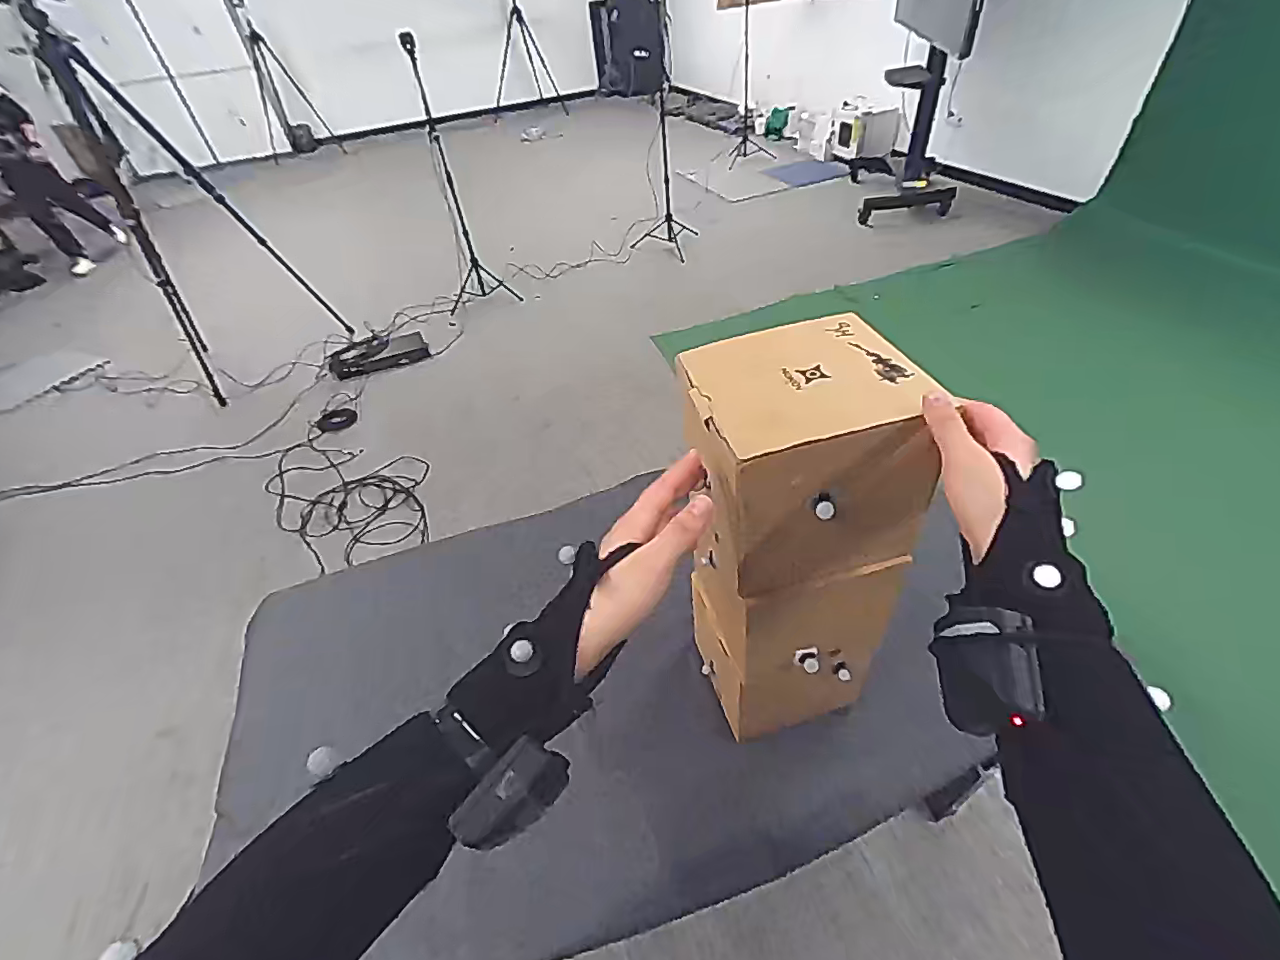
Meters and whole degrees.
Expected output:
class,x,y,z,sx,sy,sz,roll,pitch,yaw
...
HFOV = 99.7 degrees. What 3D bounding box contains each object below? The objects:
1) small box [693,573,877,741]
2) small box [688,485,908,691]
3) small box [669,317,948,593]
class,x,y,z,sx,sy,sz,roll,pitch,yaw
small box,0.178,0.214,0.718,0.179,0.176,0.168,-15,43,-7
small box,0.160,0.101,0.603,0.168,0.176,0.179,-16,44,-4
small box,0.138,-0.021,0.494,0.179,0.176,0.168,-14,42,-3
